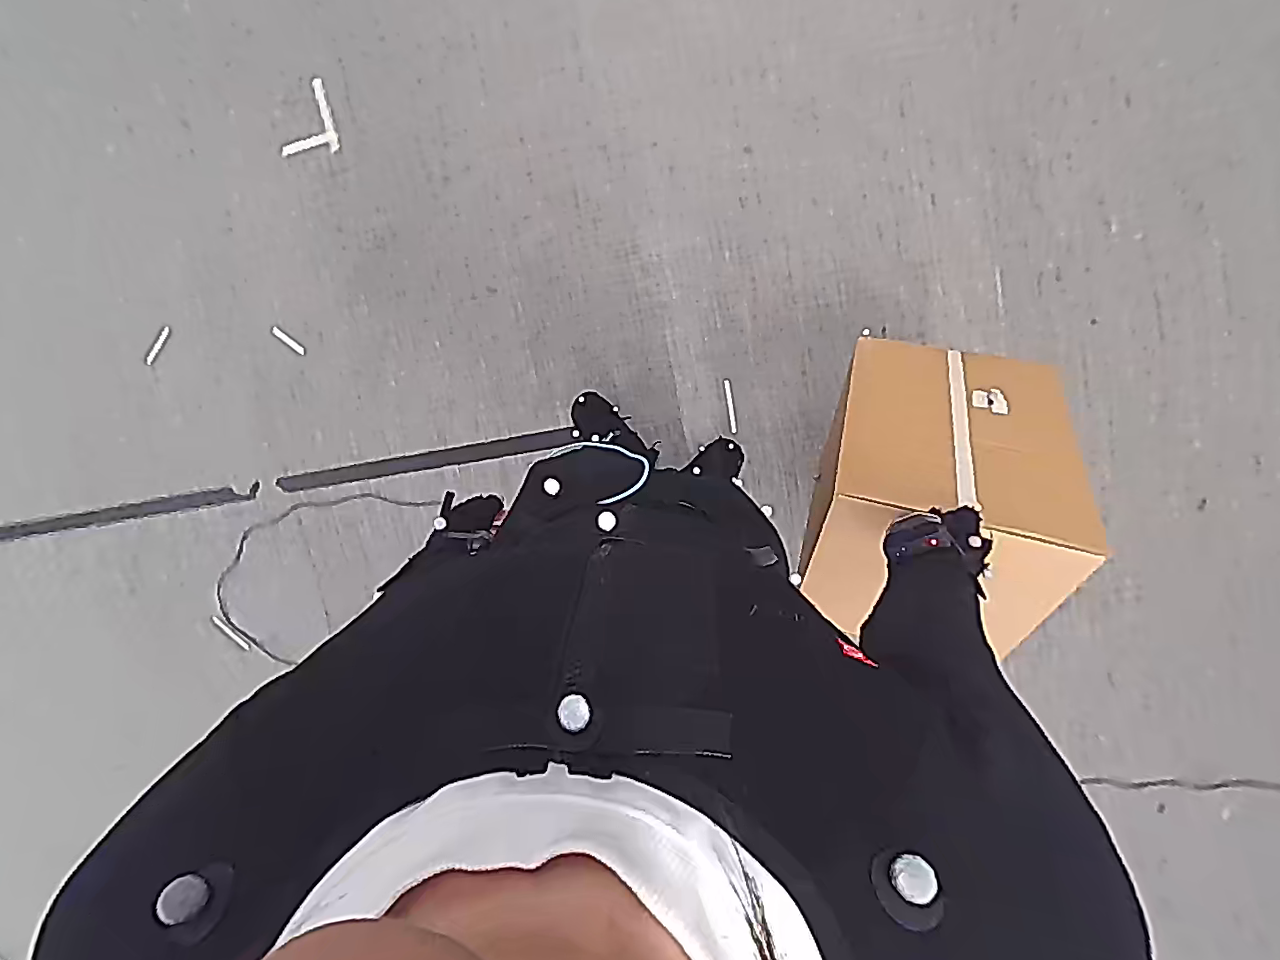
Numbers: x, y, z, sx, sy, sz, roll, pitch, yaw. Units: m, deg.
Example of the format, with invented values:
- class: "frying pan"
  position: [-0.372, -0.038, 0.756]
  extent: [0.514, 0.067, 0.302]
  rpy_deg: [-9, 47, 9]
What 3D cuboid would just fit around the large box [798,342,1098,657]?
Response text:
- class: "large box"
  position: [0.466, 0.019, 0.914]
  extent: [0.320, 0.408, 0.320]
  rpy_deg: [13, 136, 13]
